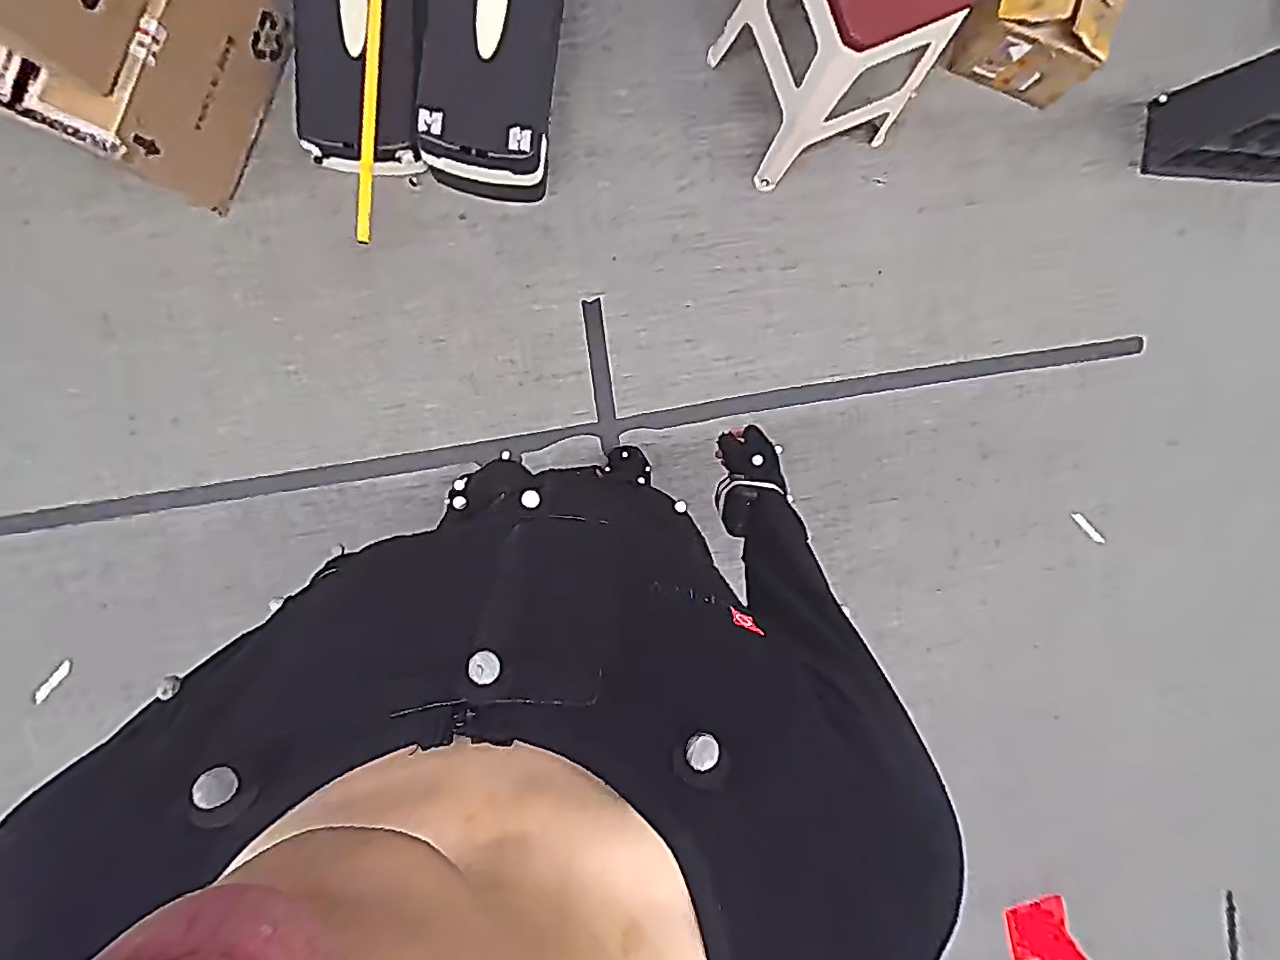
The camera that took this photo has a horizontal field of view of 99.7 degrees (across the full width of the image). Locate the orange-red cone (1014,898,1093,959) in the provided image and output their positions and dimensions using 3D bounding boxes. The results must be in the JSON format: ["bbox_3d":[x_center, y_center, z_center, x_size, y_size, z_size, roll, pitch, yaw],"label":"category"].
[{"bbox_3d":[1.294,1.437,1.533,0.198,0.360,0.199,-13,94,-4],"label":"orange-red cone"}]
